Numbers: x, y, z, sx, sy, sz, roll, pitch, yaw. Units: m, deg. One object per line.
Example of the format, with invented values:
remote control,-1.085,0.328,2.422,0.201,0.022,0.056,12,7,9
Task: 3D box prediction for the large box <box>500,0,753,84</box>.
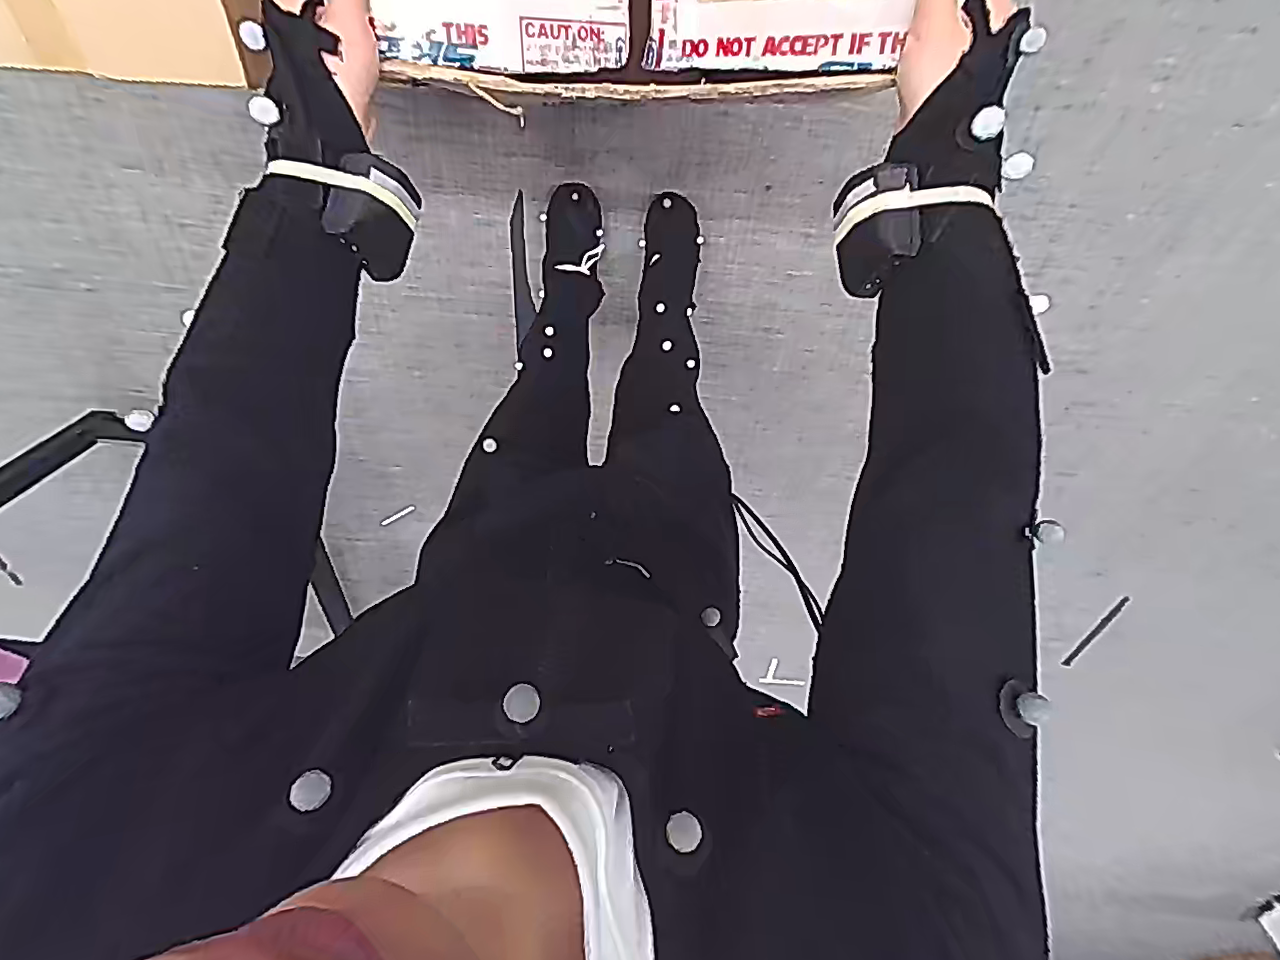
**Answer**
large box,-0.008,-0.770,0.692,0.320,0.320,0.408,4,129,1
